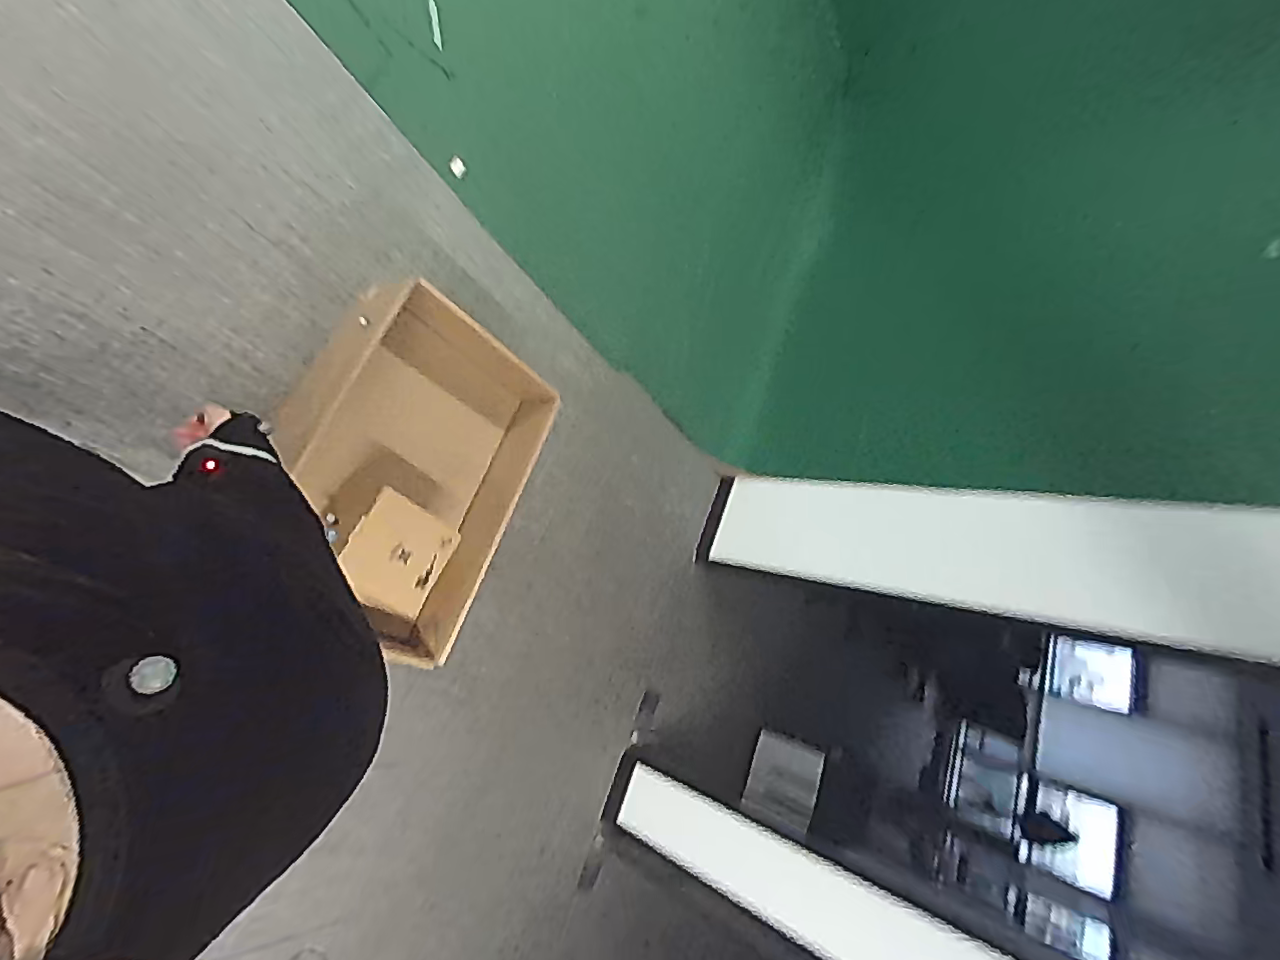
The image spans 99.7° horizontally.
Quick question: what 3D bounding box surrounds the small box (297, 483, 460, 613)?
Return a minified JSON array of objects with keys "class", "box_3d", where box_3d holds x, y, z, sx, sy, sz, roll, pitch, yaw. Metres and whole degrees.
[{"class":"small box","box_3d":[-0.473,0.116,0.978,0.179,0.176,0.168,47,60,-41]}]
